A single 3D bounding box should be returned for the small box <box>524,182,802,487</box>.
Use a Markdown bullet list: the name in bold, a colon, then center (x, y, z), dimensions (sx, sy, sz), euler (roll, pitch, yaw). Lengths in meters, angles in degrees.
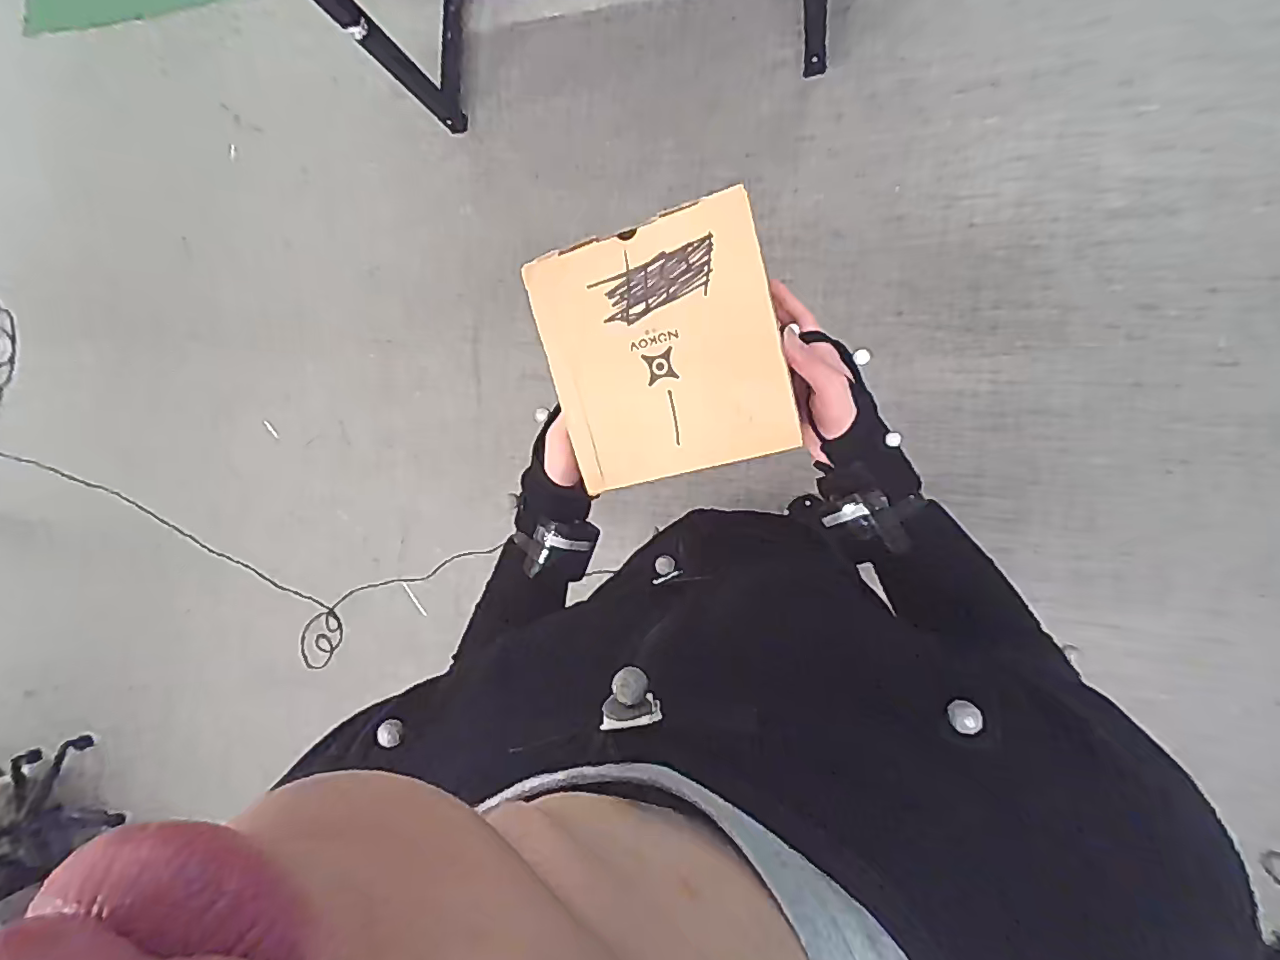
- **small box**: center (0.032, -0.110, 0.453), dimensions (0.168, 0.176, 0.179), euler (-13, 100, 17)
